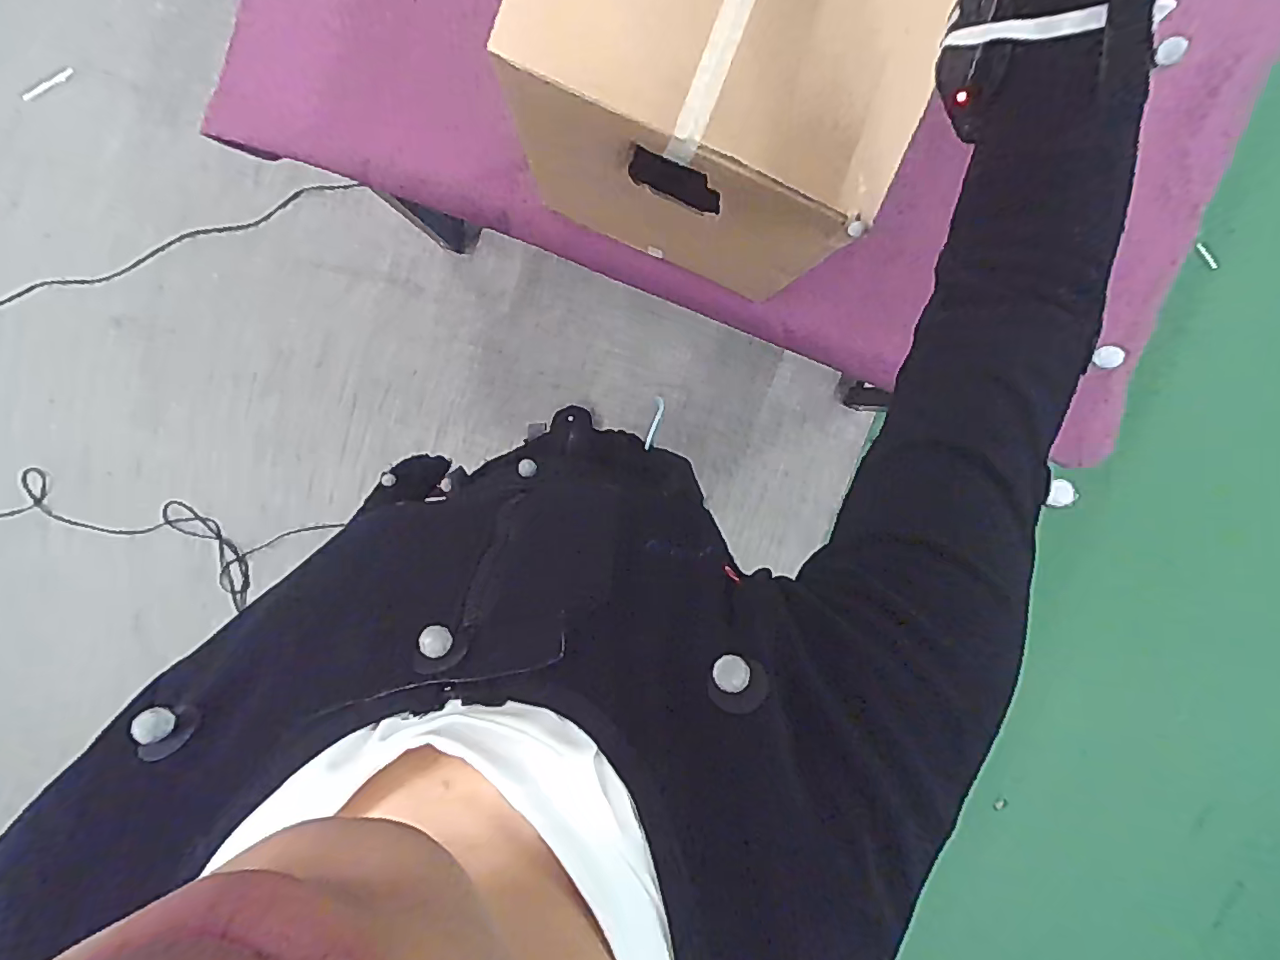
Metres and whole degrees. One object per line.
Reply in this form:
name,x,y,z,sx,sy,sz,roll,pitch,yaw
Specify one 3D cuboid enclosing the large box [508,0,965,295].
large box,0.106,-0.460,0.544,0.320,0.320,0.408,23,97,-5
